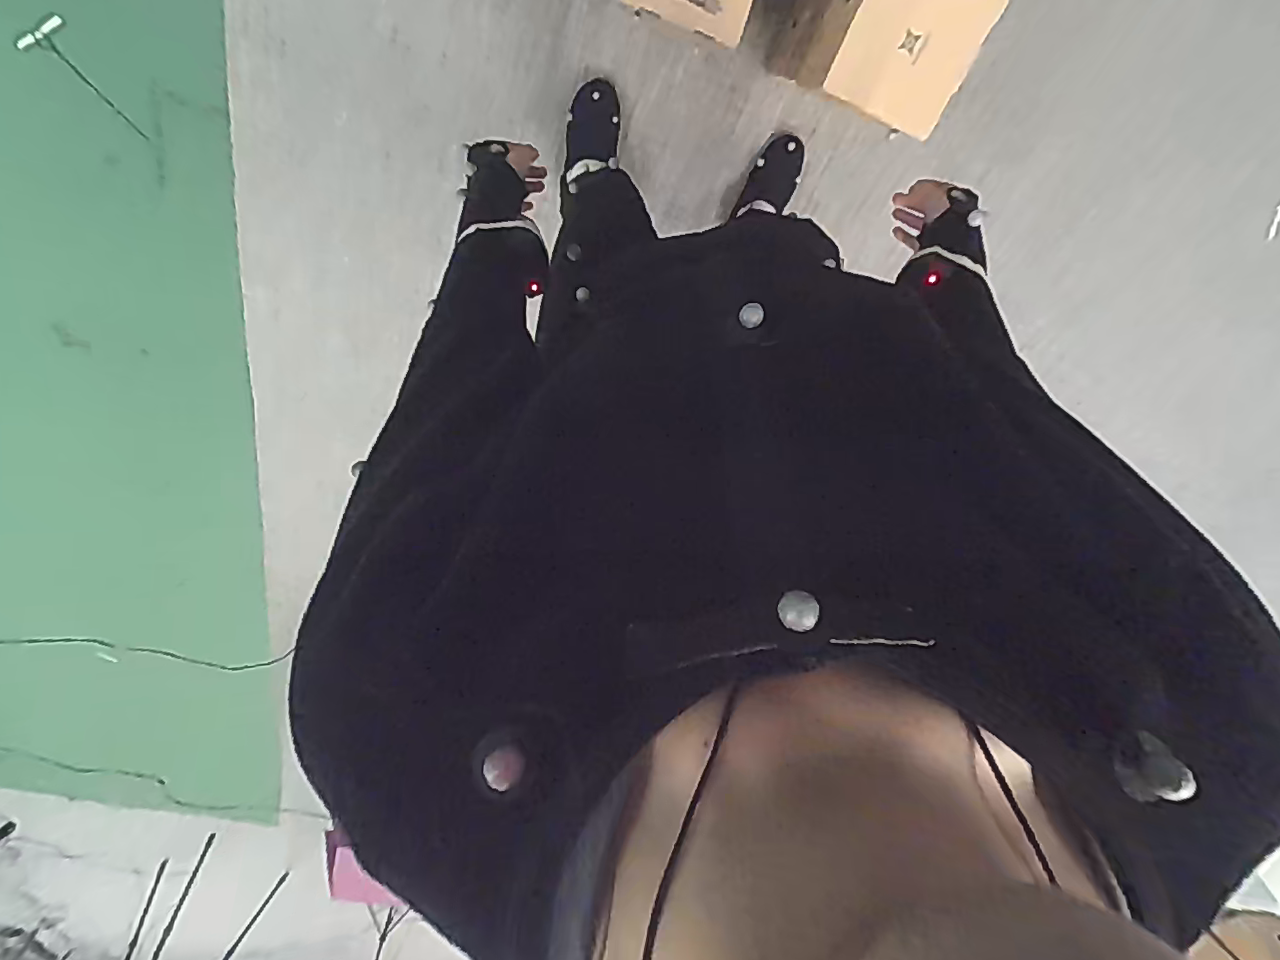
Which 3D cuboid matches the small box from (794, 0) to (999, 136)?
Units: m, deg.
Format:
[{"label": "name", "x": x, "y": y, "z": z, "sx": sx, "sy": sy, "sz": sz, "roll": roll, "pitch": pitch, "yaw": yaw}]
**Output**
[{"label": "small box", "x": 0.344, "y": -0.619, "z": 0.769, "sx": 0.179, "sy": 0.176, "sz": 0.168, "roll": 16, "pitch": 125, "yaw": -13}]
